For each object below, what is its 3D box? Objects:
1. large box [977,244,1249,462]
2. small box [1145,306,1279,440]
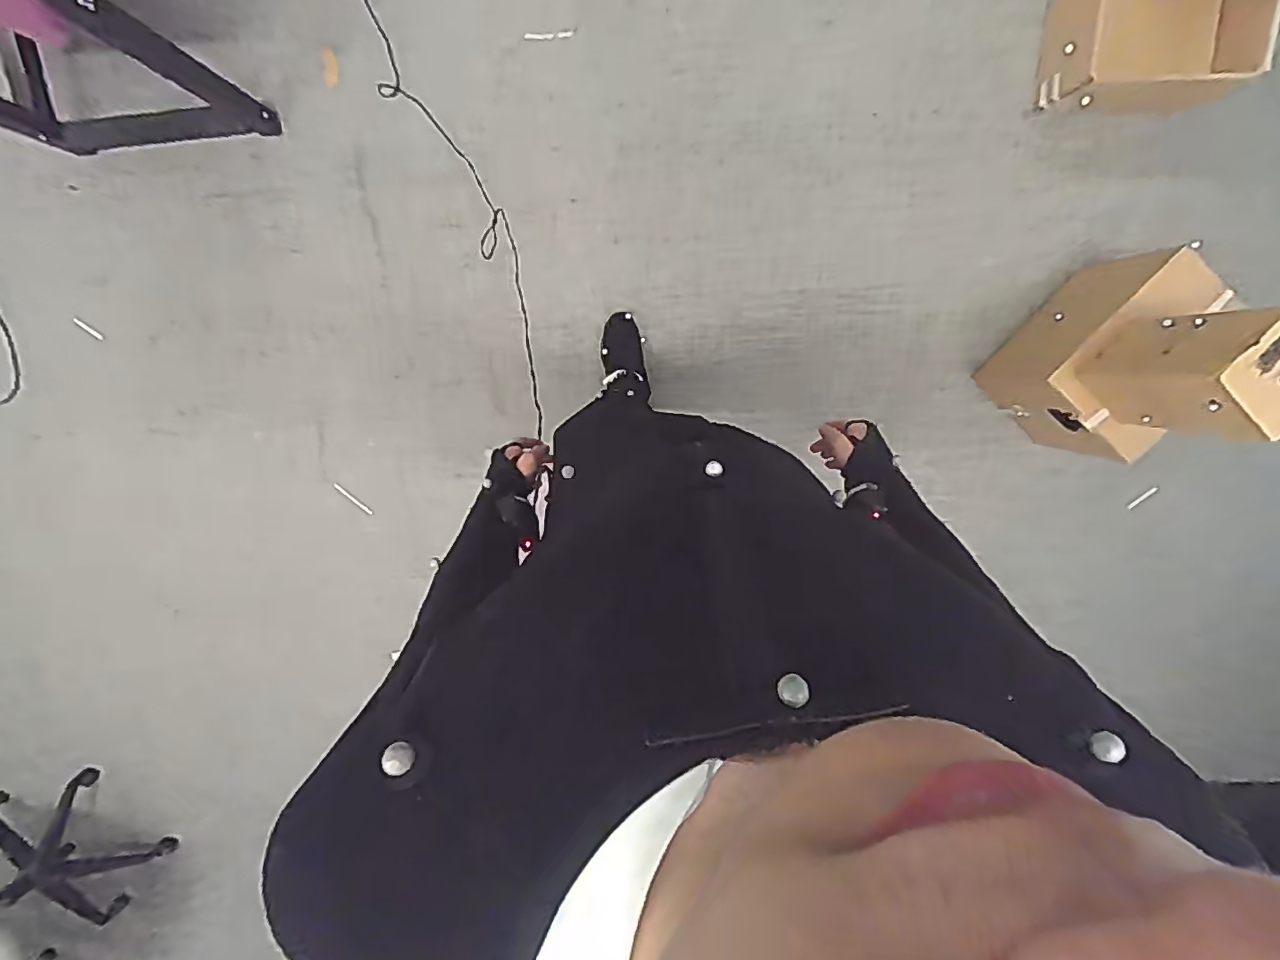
[{"bbox_3d":[1.201,-0.311,1.397,0.320,0.320,0.408,40,99,-8],"label":"large box"},{"bbox_3d":[1.117,-0.197,1.004,0.179,0.176,0.168,41,100,-8],"label":"small box"}]
